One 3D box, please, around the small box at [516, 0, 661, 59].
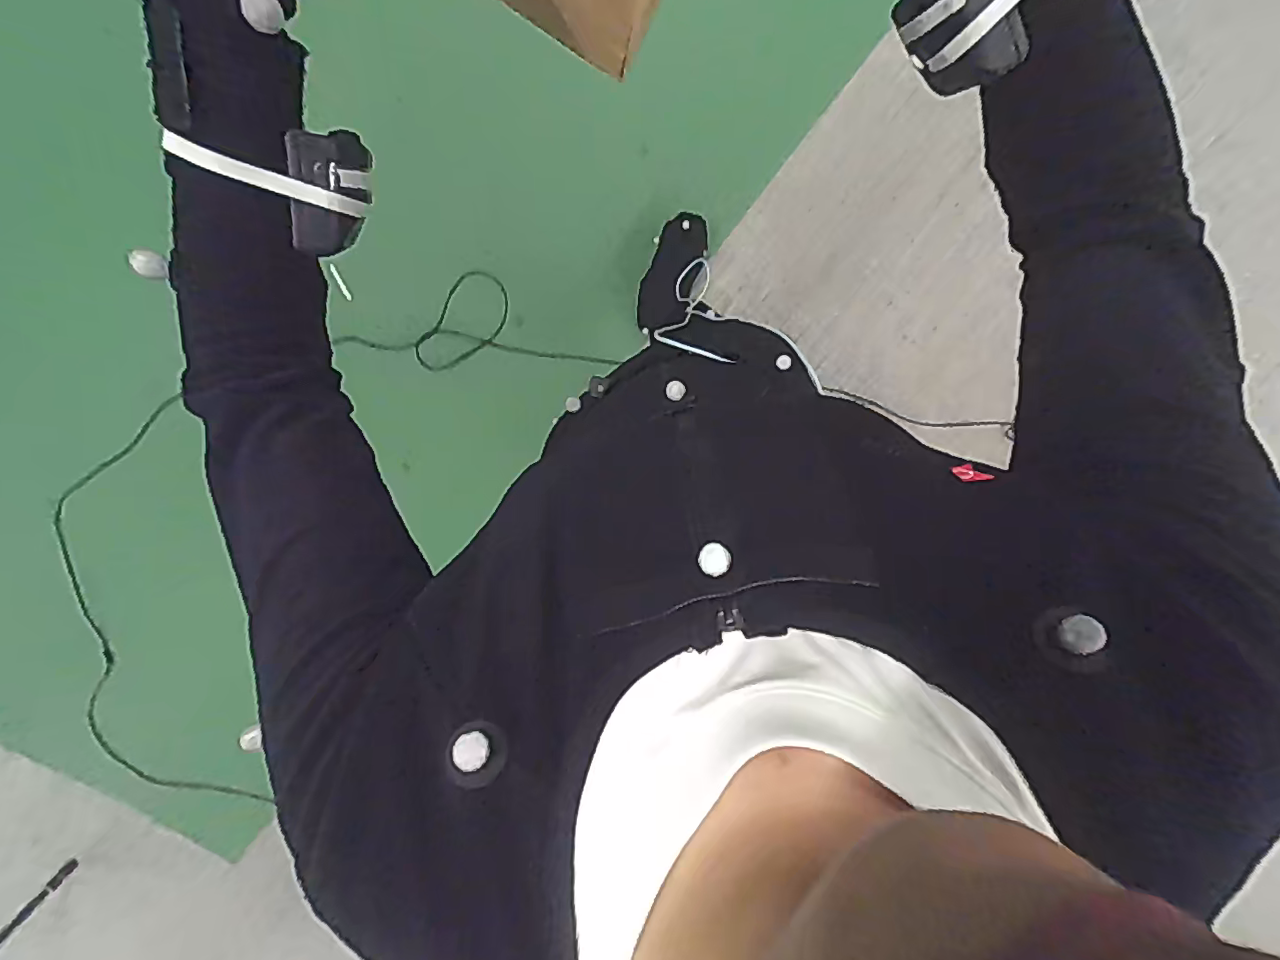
[{"bbox_3d":[-0.039,-0.376,0.283,0.179,0.176,0.168,26,103,-14],"label":"small box"}]
